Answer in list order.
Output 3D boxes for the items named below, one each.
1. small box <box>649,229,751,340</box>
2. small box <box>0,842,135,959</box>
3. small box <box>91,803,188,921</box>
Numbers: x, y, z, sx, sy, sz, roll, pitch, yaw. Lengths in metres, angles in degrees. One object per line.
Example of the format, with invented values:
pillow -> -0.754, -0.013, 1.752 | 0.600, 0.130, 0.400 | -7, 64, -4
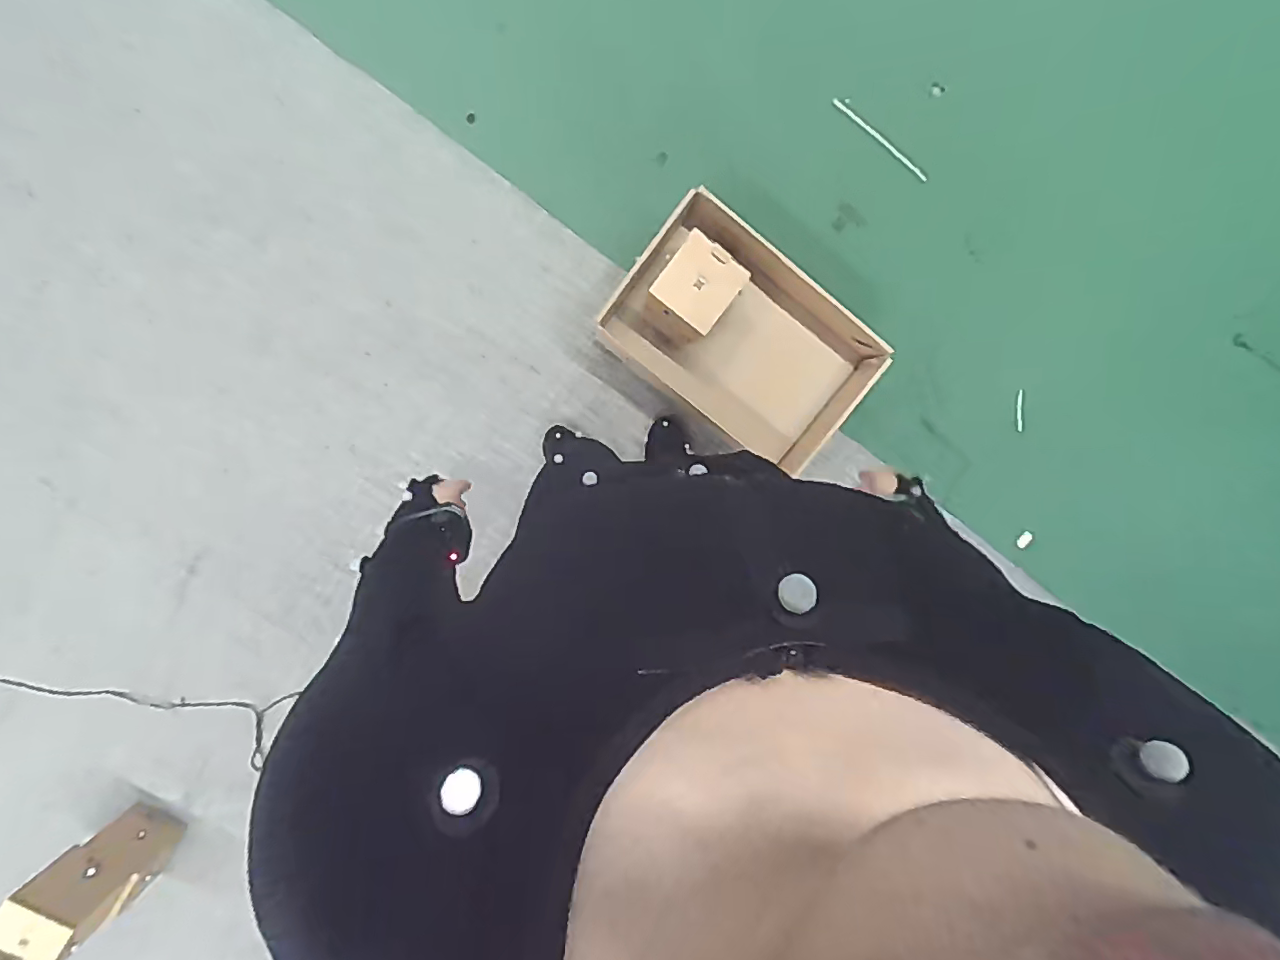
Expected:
small box -> 0.136, -0.453, 1.292 | 0.168, 0.176, 0.179 | 36, 96, -7
small box -> -1.419, 1.054, 1.332 | 0.168, 0.176, 0.179 | 33, 94, -7
small box -> -1.416, 1.046, 1.497 | 0.168, 0.176, 0.179 | 32, 95, -6
